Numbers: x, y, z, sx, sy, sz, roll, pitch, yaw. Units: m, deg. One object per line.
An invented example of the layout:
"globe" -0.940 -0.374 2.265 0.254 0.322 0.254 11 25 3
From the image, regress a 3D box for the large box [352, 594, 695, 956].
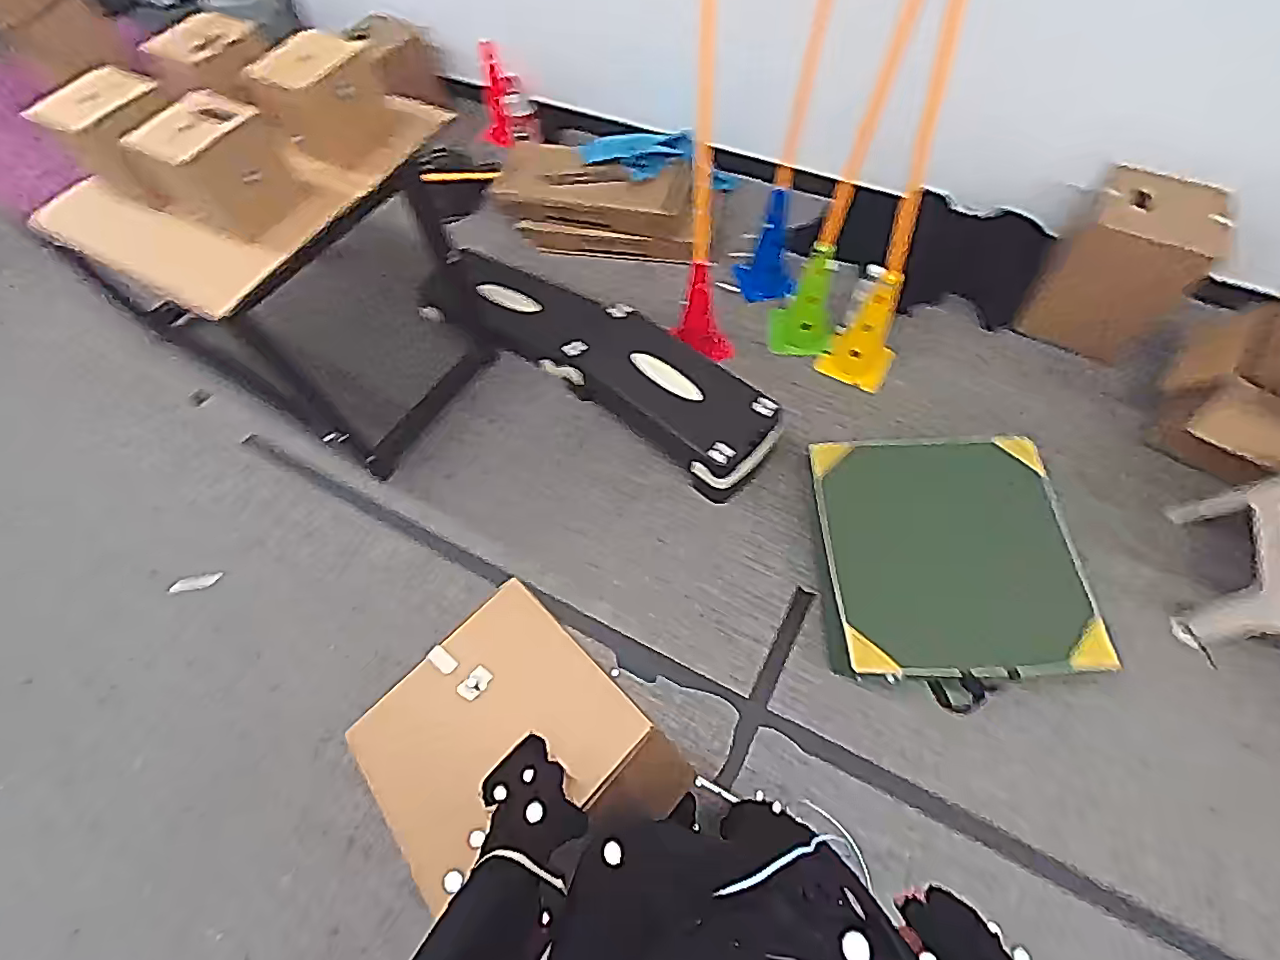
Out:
"large box" -0.153 0.448 0.860 0.320 0.408 0.320 -43 55 -15
